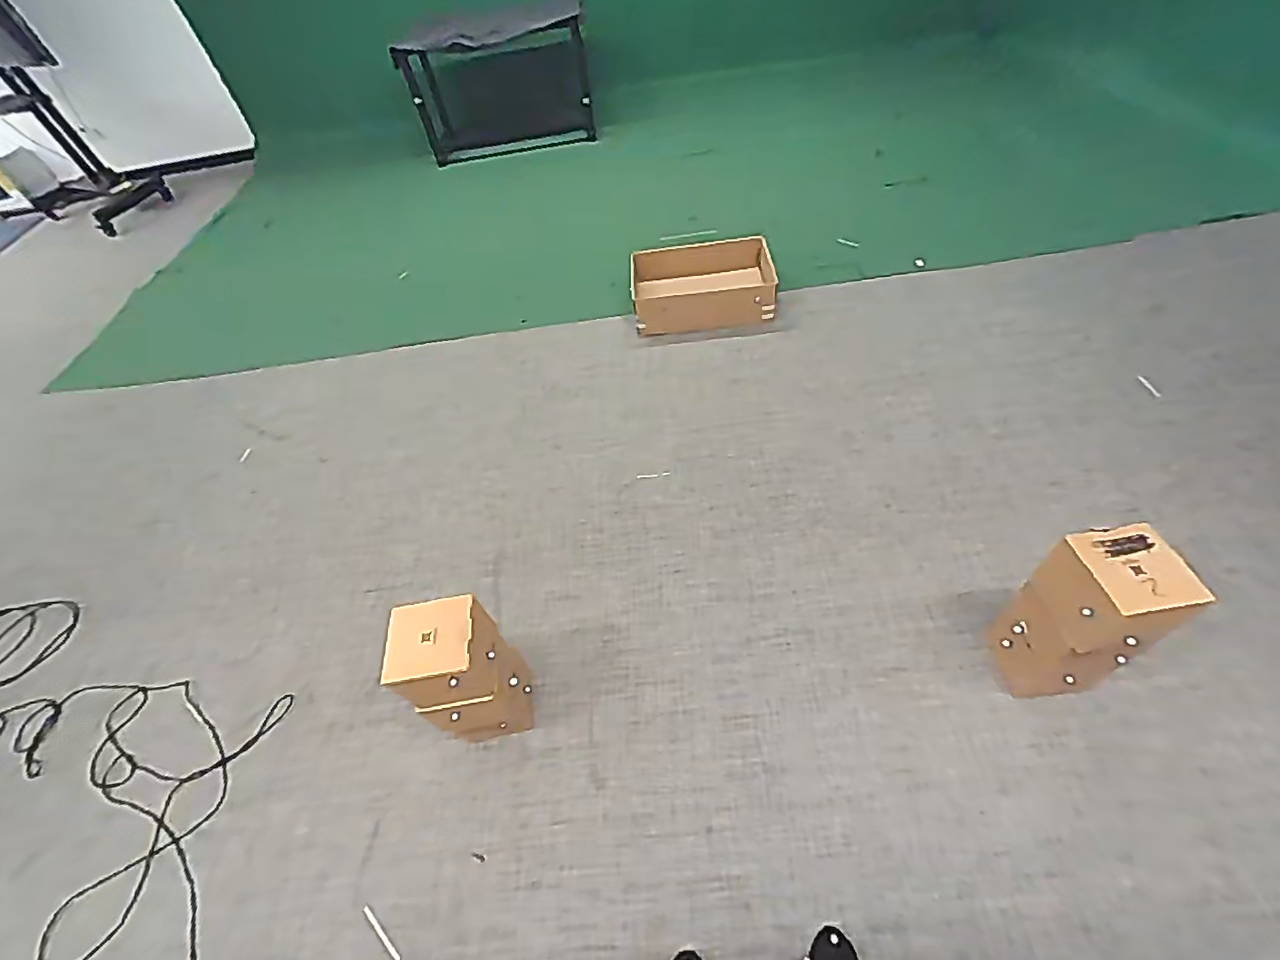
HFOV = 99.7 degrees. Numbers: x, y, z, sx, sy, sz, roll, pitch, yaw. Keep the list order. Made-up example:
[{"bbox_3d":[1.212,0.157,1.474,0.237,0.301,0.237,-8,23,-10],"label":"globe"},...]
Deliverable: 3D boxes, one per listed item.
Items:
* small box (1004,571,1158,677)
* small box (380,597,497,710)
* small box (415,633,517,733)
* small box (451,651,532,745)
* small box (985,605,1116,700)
[{"bbox_3d":[0.953,0.320,1.190,0.179,0.176,0.168,-7,49,5],"label":"small box"},{"bbox_3d":[-0.419,0.375,1.155,0.179,0.176,0.168,-11,50,-1],"label":"small box"},{"bbox_3d":[-0.402,0.482,1.276,0.179,0.176,0.168,-10,51,0],"label":"small box"},{"bbox_3d":[-0.387,0.572,1.413,0.179,0.176,0.168,-14,50,-1],"label":"small box"},{"bbox_3d":[0.983,0.416,1.318,0.168,0.176,0.179,-7,50,4],"label":"small box"}]
